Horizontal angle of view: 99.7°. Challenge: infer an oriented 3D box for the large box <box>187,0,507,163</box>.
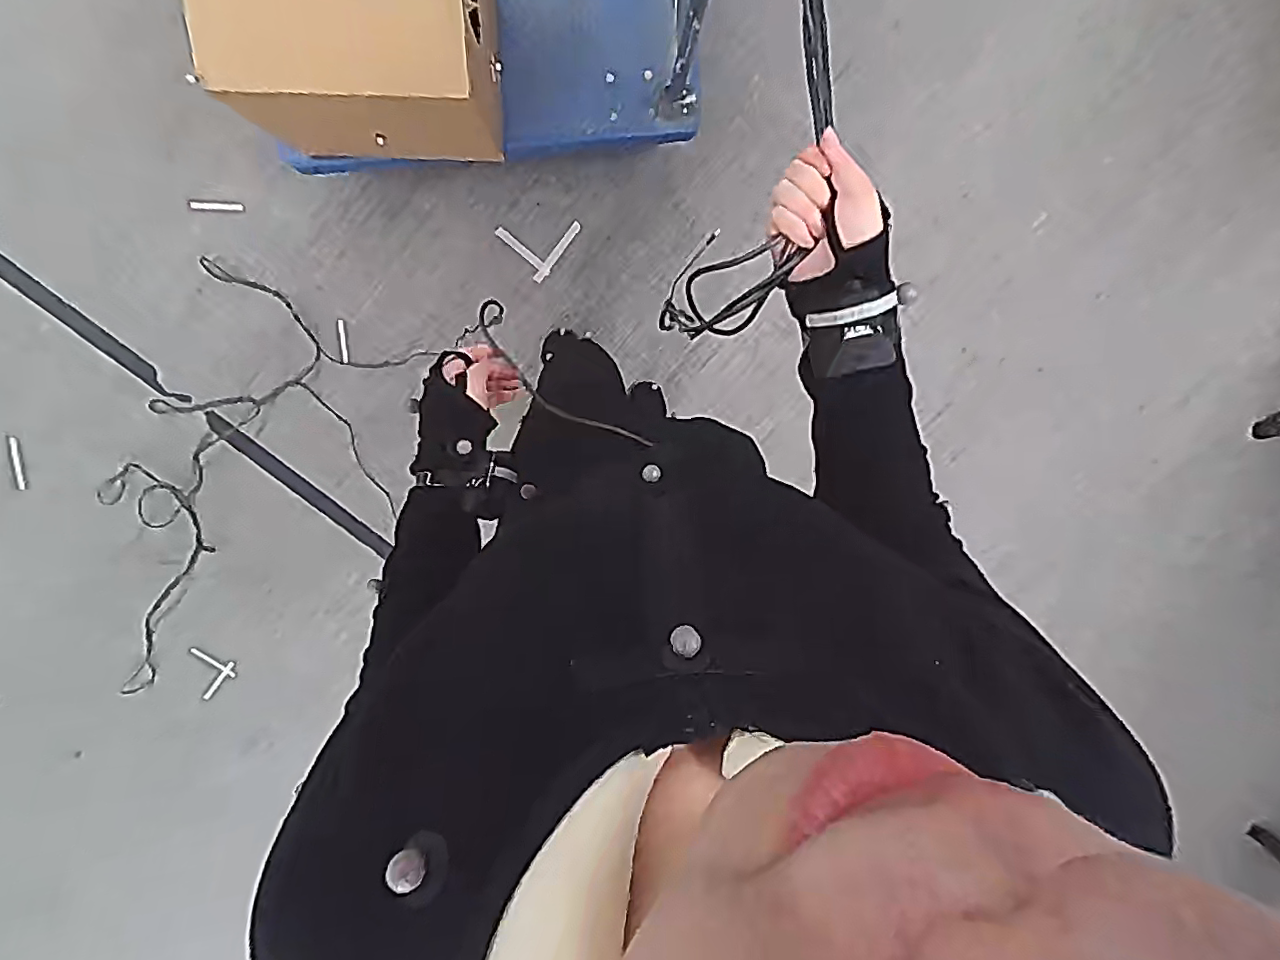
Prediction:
[{"bbox_3d":[-0.467,-0.762,0.934,0.408,0.320,0.320,-1,104,-3],"label":"large box"}]
